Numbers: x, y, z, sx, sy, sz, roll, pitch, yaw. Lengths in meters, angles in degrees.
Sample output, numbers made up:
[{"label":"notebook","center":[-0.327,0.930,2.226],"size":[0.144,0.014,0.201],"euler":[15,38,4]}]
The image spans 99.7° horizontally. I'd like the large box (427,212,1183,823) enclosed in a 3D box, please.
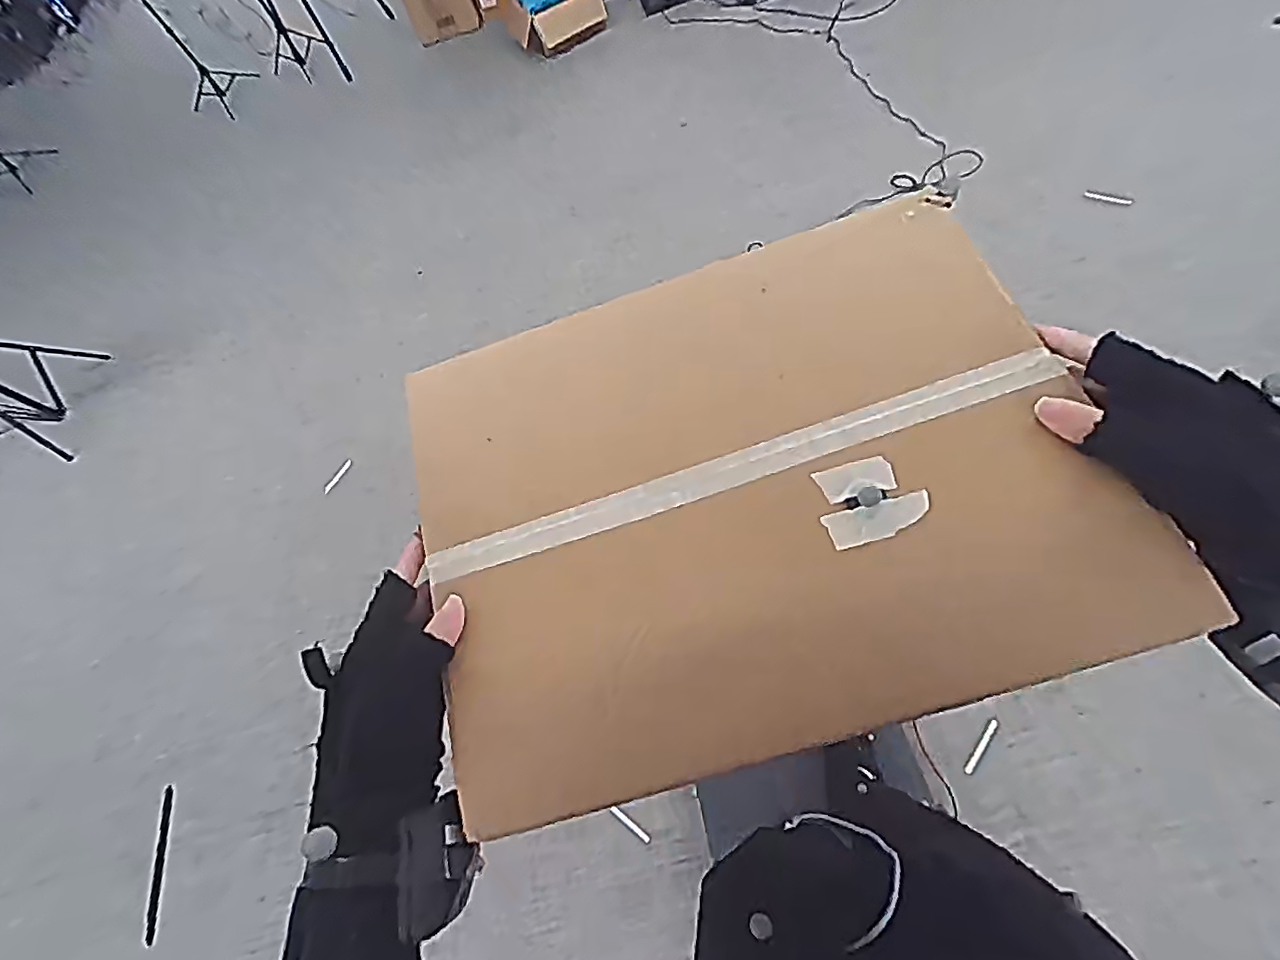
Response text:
[{"label":"large box","center":[0.086,0.051,0.489],"size":[0.408,0.320,0.320],"euler":[-19,68,3]}]
